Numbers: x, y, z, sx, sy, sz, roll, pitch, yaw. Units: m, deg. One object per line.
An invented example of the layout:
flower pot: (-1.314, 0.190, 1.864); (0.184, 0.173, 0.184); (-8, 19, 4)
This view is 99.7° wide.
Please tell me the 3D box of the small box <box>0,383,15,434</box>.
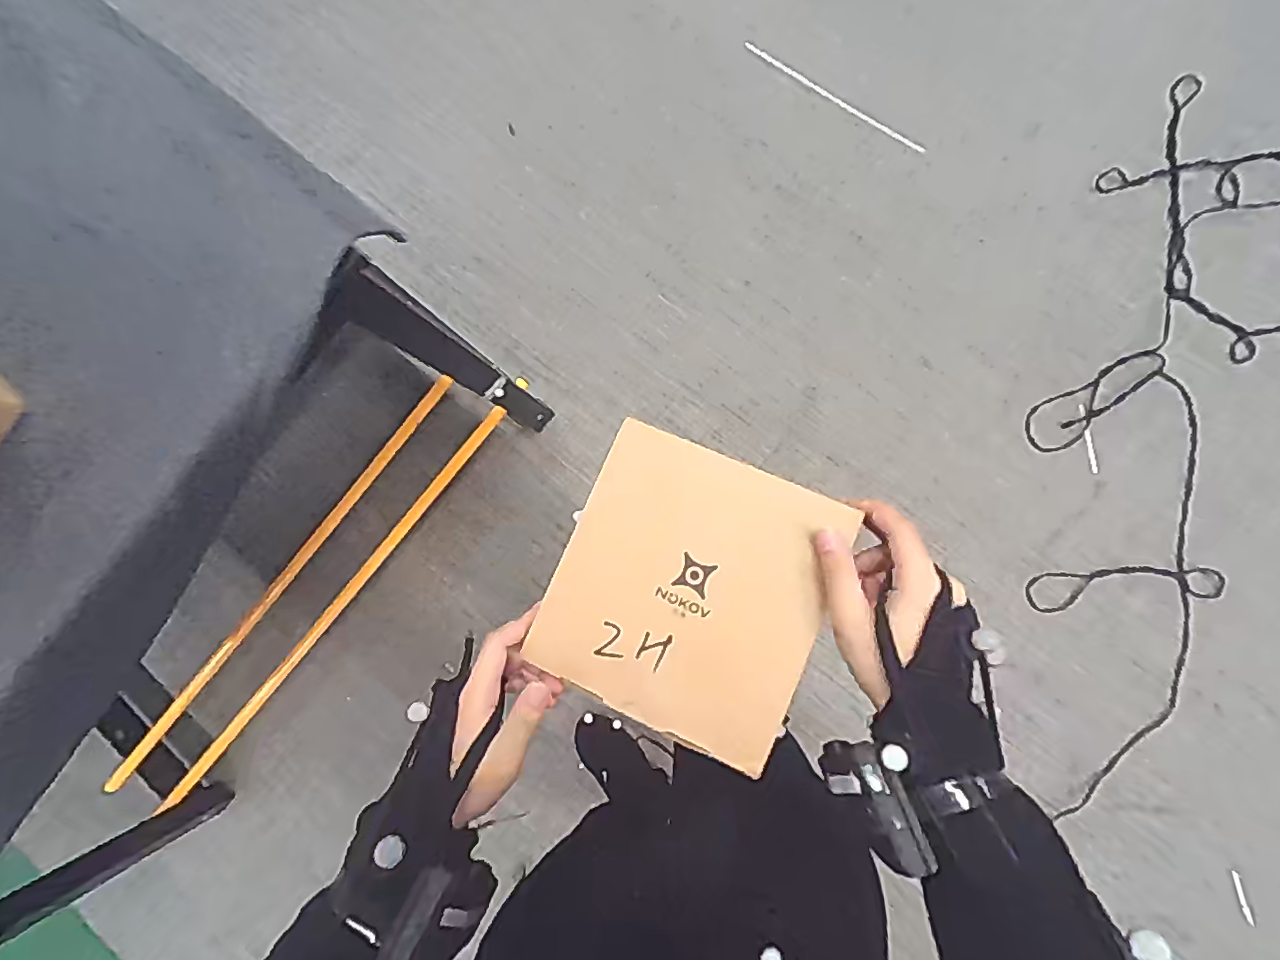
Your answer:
small box: (-0.707, -0.068, 0.447); (0.179, 0.176, 0.168); (38, 89, 9)
